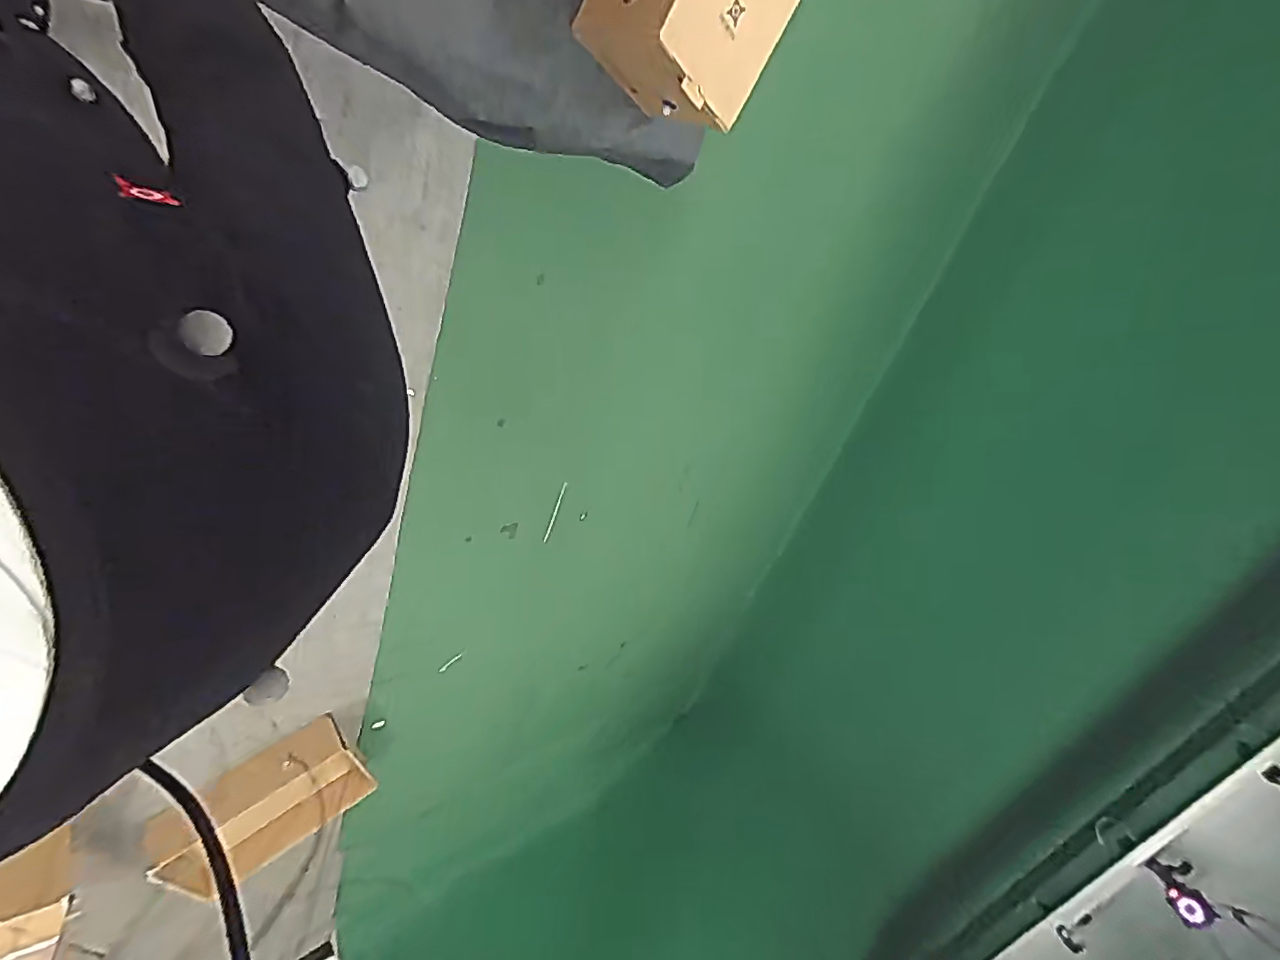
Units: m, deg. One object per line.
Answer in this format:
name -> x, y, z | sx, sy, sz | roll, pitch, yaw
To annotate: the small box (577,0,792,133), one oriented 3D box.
small box -> 0.048, -0.574, 0.665 | 0.168, 0.176, 0.179 | 10, 113, -53
